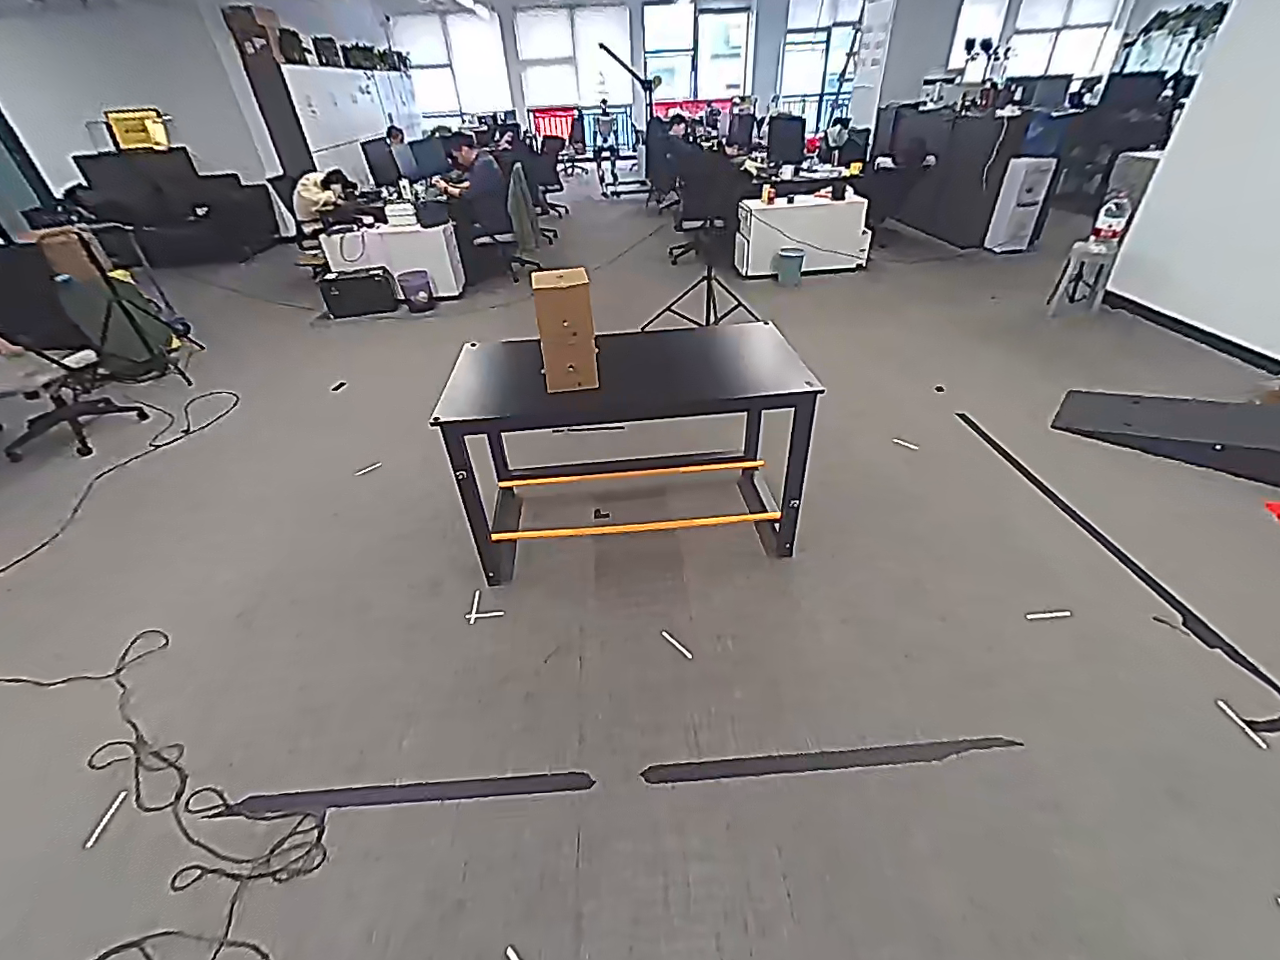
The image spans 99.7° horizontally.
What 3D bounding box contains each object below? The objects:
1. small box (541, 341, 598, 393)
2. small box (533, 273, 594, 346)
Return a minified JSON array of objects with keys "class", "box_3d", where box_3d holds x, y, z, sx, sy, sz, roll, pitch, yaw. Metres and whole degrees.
[{"class":"small box","box_3d":[-0.231,-0.394,1.777,0.168,0.176,0.179,-8,37,-5]},{"class":"small box","box_3d":[-0.240,-0.530,1.683,0.168,0.176,0.179,-9,36,-6]}]
